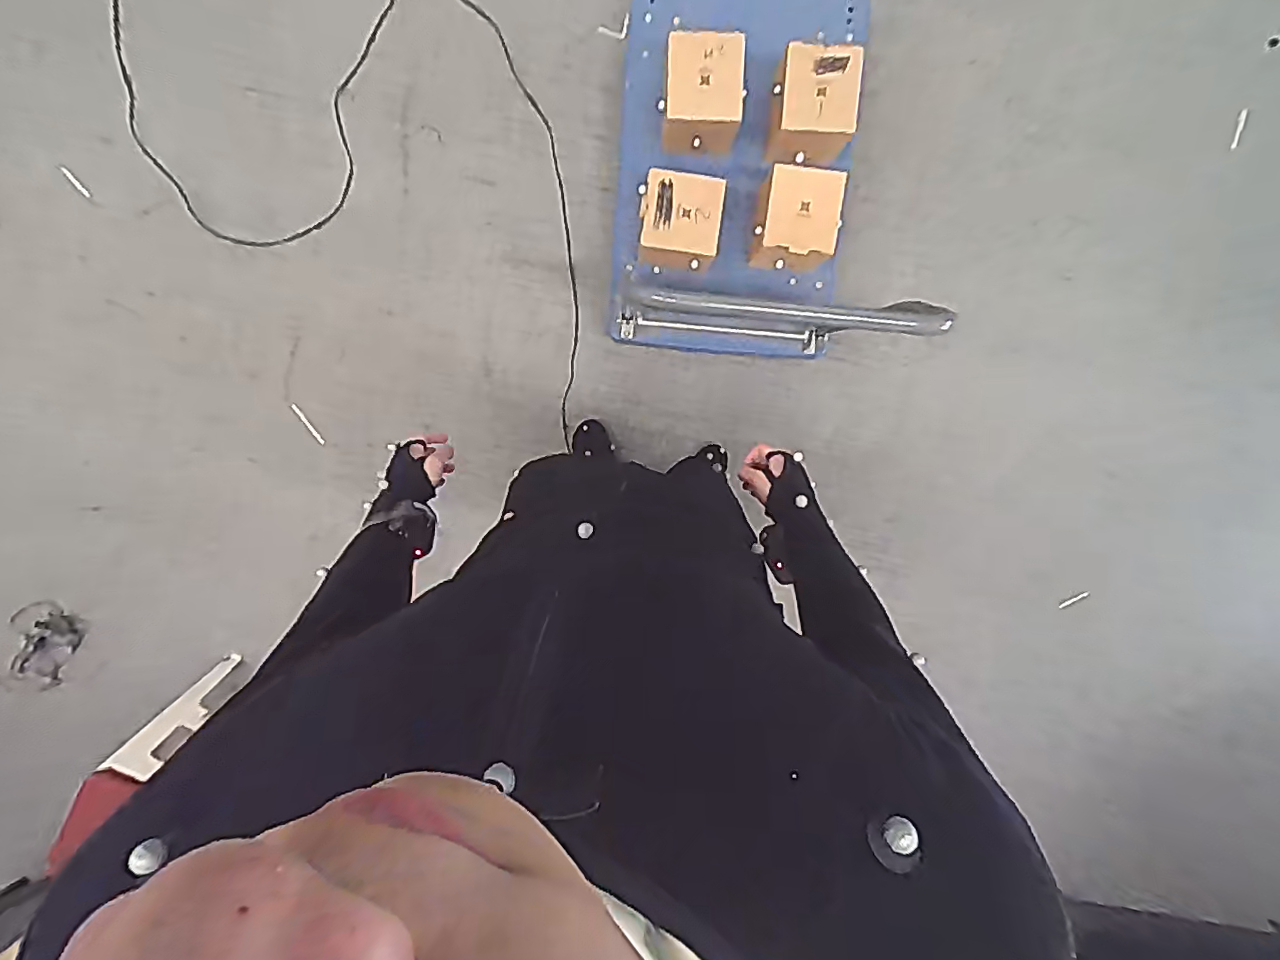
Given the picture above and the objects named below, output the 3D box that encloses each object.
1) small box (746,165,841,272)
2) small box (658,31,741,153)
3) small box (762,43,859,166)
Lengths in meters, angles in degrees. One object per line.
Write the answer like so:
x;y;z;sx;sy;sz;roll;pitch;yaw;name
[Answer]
0.357;-0.615;1.289;0.168;0.176;0.179;6;97;-2;small box
0.130;-0.879;1.242;0.168;0.176;0.179;1;98;-2;small box
0.385;-0.859;1.250;0.168;0.176;0.179;3;99;-1;small box
